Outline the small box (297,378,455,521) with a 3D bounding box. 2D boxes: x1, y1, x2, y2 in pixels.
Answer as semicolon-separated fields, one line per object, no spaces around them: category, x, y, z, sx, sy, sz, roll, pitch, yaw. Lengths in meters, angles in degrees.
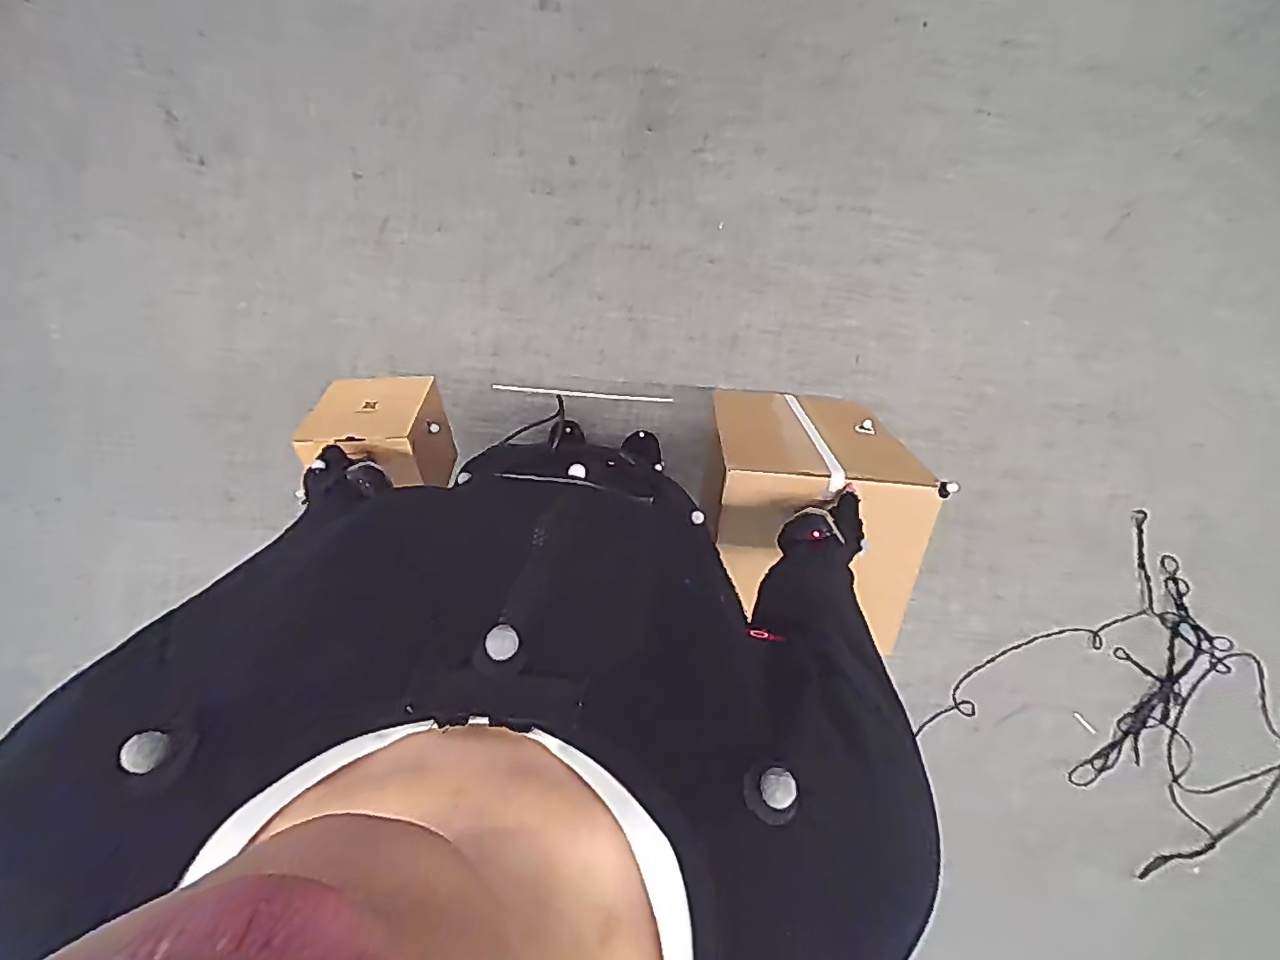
small box;-0.417;-0.052;0.893;0.168;0.179;0.176;-3;131;-2
